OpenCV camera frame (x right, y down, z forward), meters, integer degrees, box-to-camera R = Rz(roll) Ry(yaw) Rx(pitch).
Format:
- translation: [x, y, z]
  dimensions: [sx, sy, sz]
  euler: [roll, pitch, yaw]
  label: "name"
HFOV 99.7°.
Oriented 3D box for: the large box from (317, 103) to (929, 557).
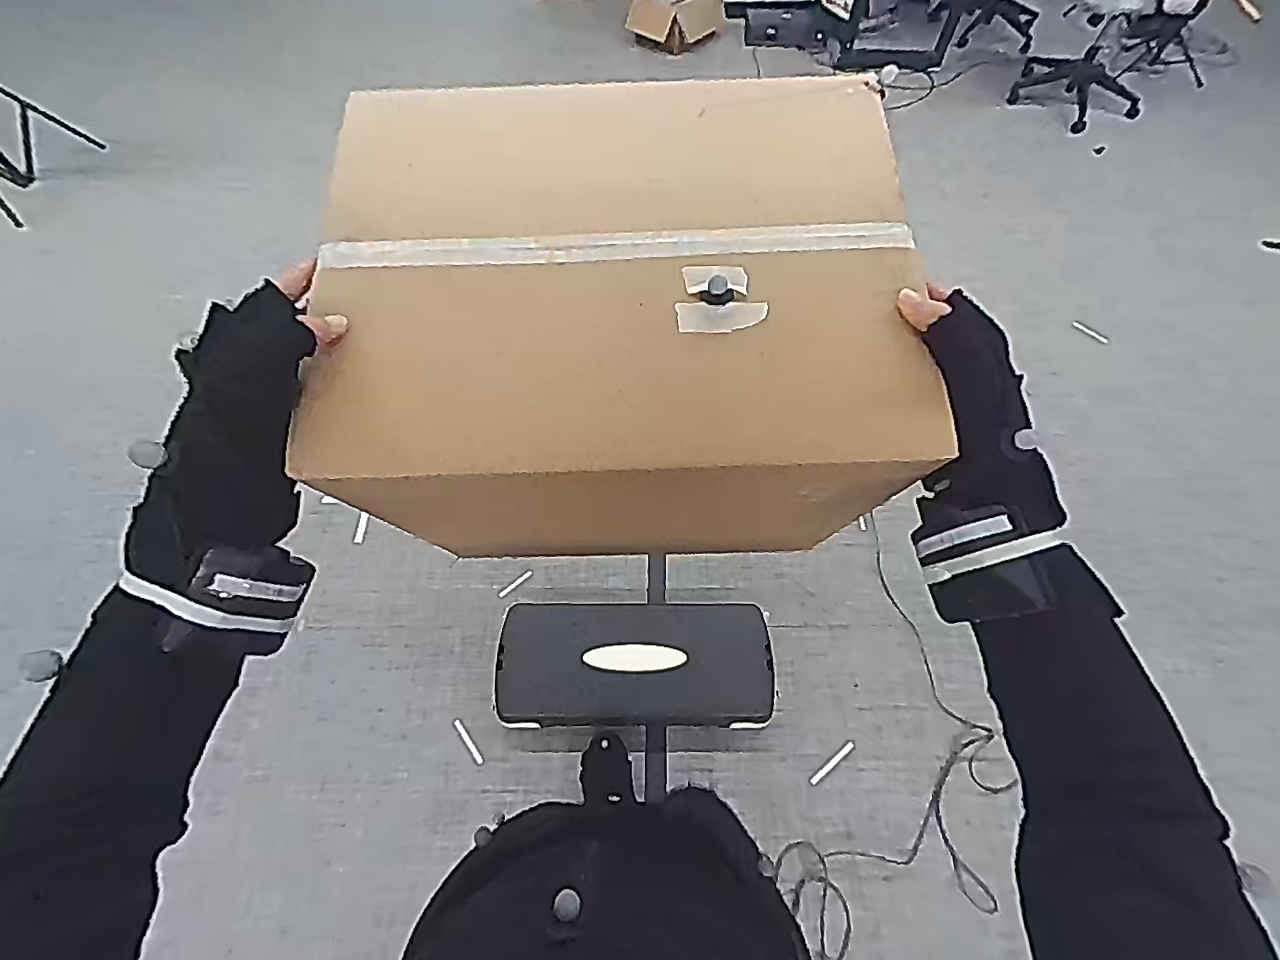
- translation: [-0.016, -0.109, 0.533]
  dimensions: [0.408, 0.320, 0.320]
  euler: [-2, 73, 0]
  label: "large box"
